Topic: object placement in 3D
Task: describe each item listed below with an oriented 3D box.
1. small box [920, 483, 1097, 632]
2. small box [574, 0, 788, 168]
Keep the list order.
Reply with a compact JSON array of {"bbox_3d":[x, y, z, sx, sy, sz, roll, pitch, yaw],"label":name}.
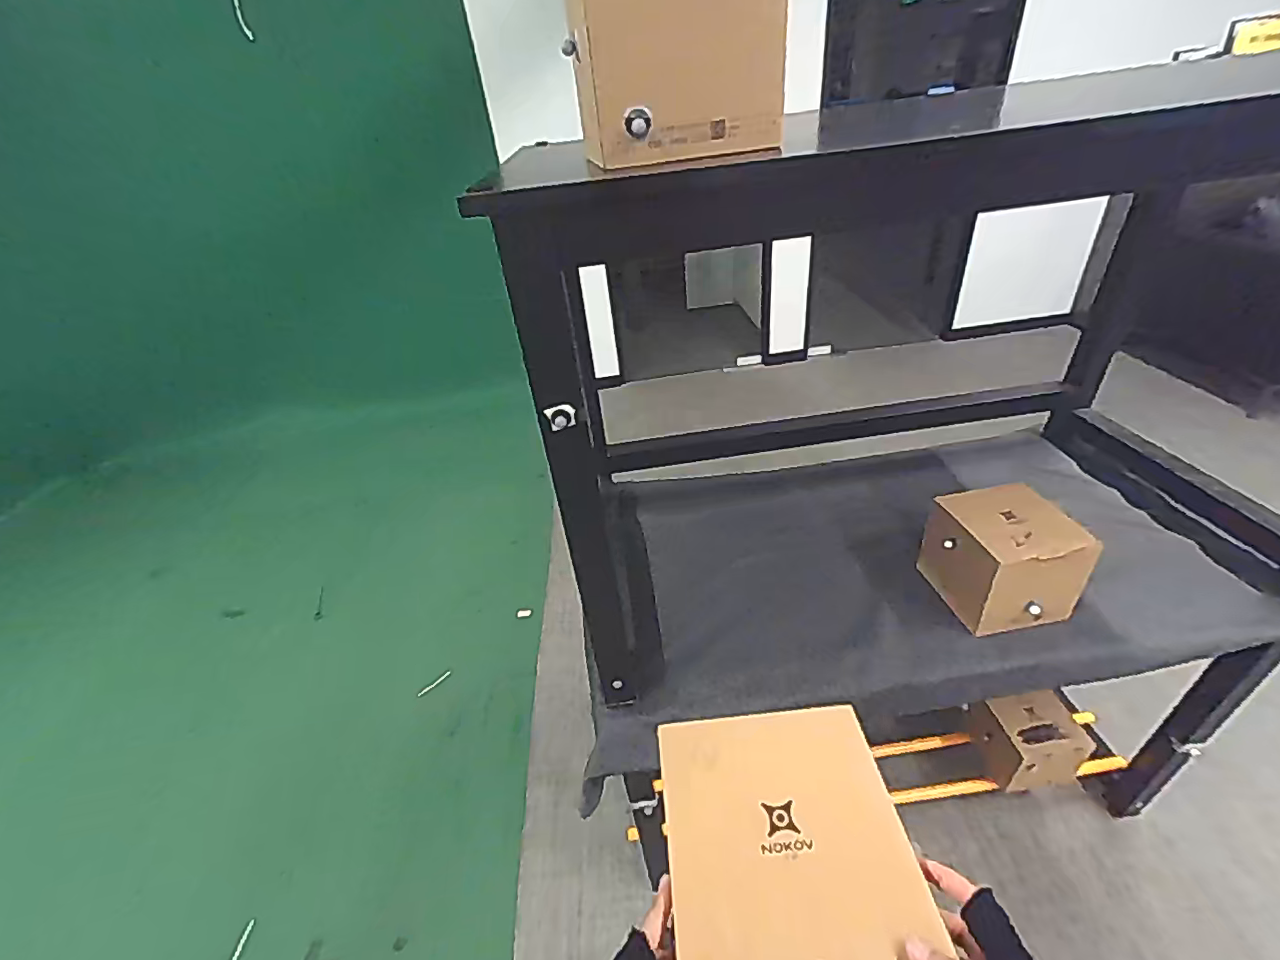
[{"bbox_3d":[0.613,0.130,0.931,0.168,0.176,0.179,-10,34,-3],"label":"small box"},{"bbox_3d":[0.035,-0.401,0.511,0.168,0.176,0.179,-10,34,-5],"label":"small box"}]
